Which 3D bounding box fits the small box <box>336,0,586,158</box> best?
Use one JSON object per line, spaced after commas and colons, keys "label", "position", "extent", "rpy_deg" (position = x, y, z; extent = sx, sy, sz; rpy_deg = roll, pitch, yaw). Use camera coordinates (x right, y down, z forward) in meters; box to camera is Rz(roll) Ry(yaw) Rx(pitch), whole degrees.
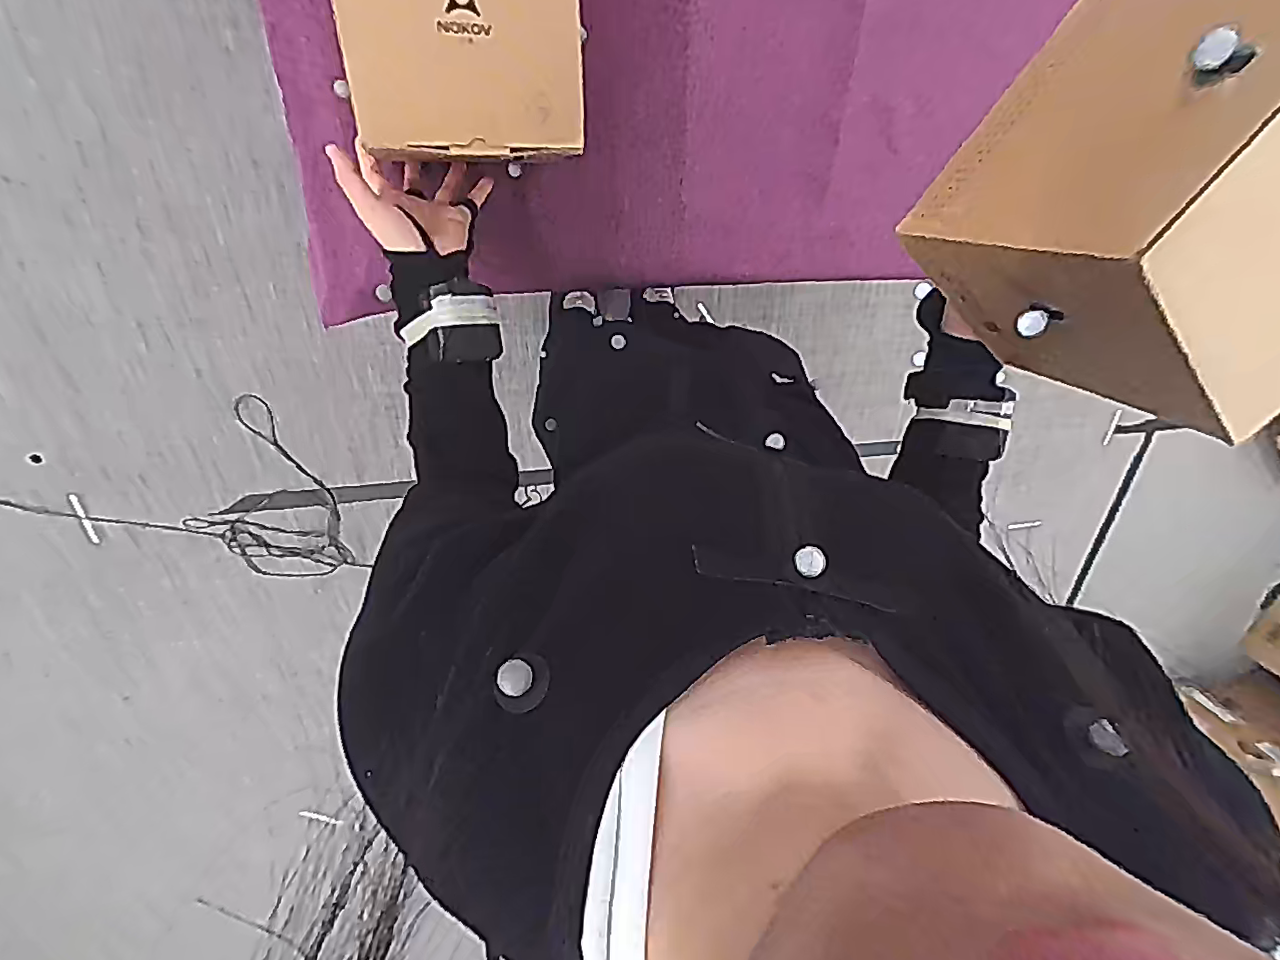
{"label": "small box", "position": [-0.145, -0.362, 0.432], "extent": [0.168, 0.176, 0.179], "rpy_deg": [-10, 120, -18]}

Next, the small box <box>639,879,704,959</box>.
{"label": "small box", "position": [0.096, 1.446, 1.776], "extent": [0.168, 0.176, 0.179], "rpy_deg": [-1, 117, -14]}

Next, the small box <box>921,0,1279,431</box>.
{"label": "small box", "position": [0.304, -0.164, 0.317], "extent": [0.168, 0.176, 0.179], "rpy_deg": [31, 105, -27]}
